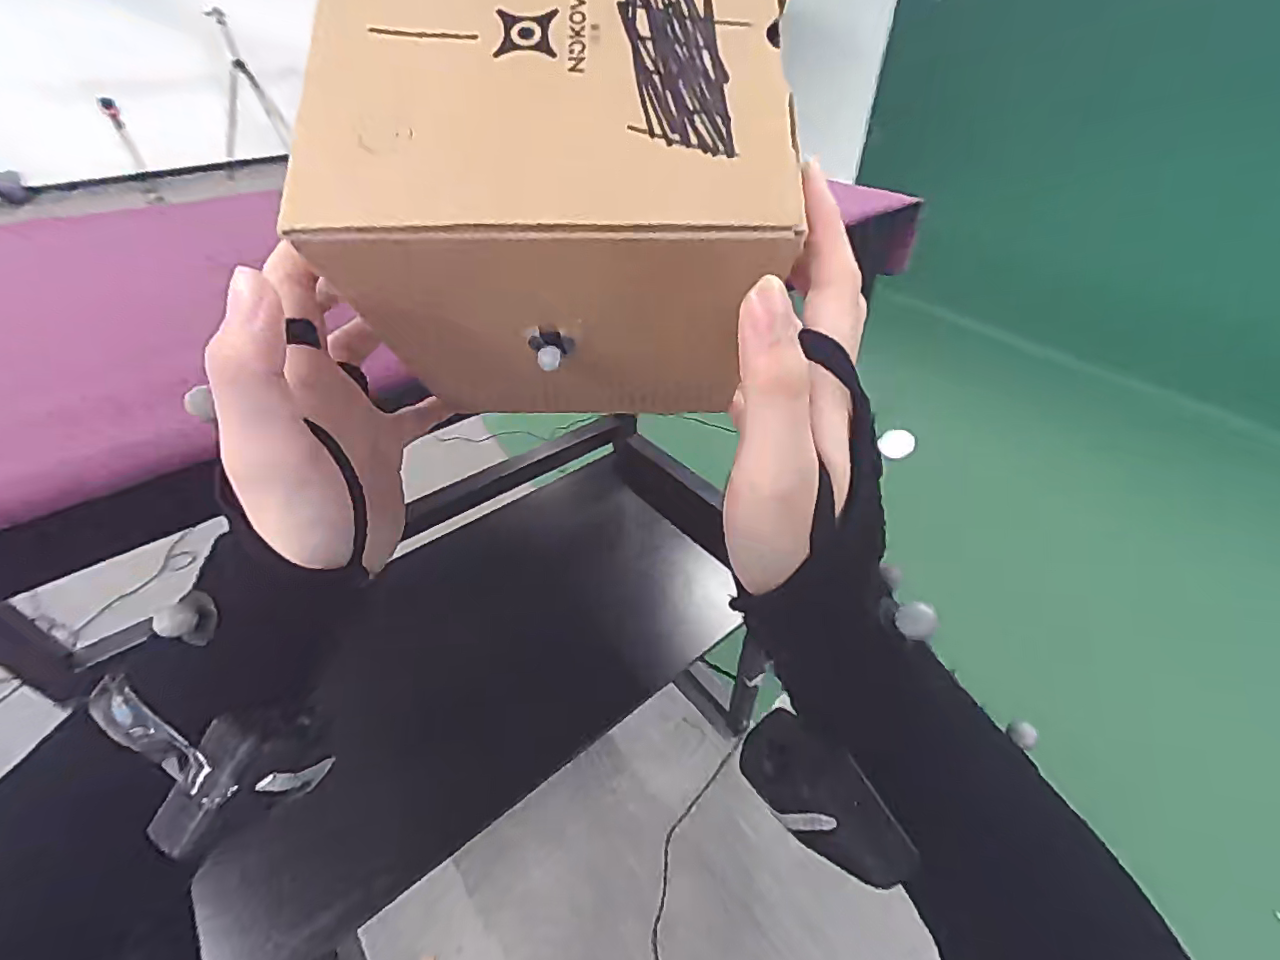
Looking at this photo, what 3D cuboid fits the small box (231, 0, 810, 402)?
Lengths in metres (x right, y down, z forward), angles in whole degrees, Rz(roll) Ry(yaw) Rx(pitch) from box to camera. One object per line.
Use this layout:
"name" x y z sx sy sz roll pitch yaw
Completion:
"small box" -0.033 -0.143 0.255 0.179 0.176 0.168 2 77 1
